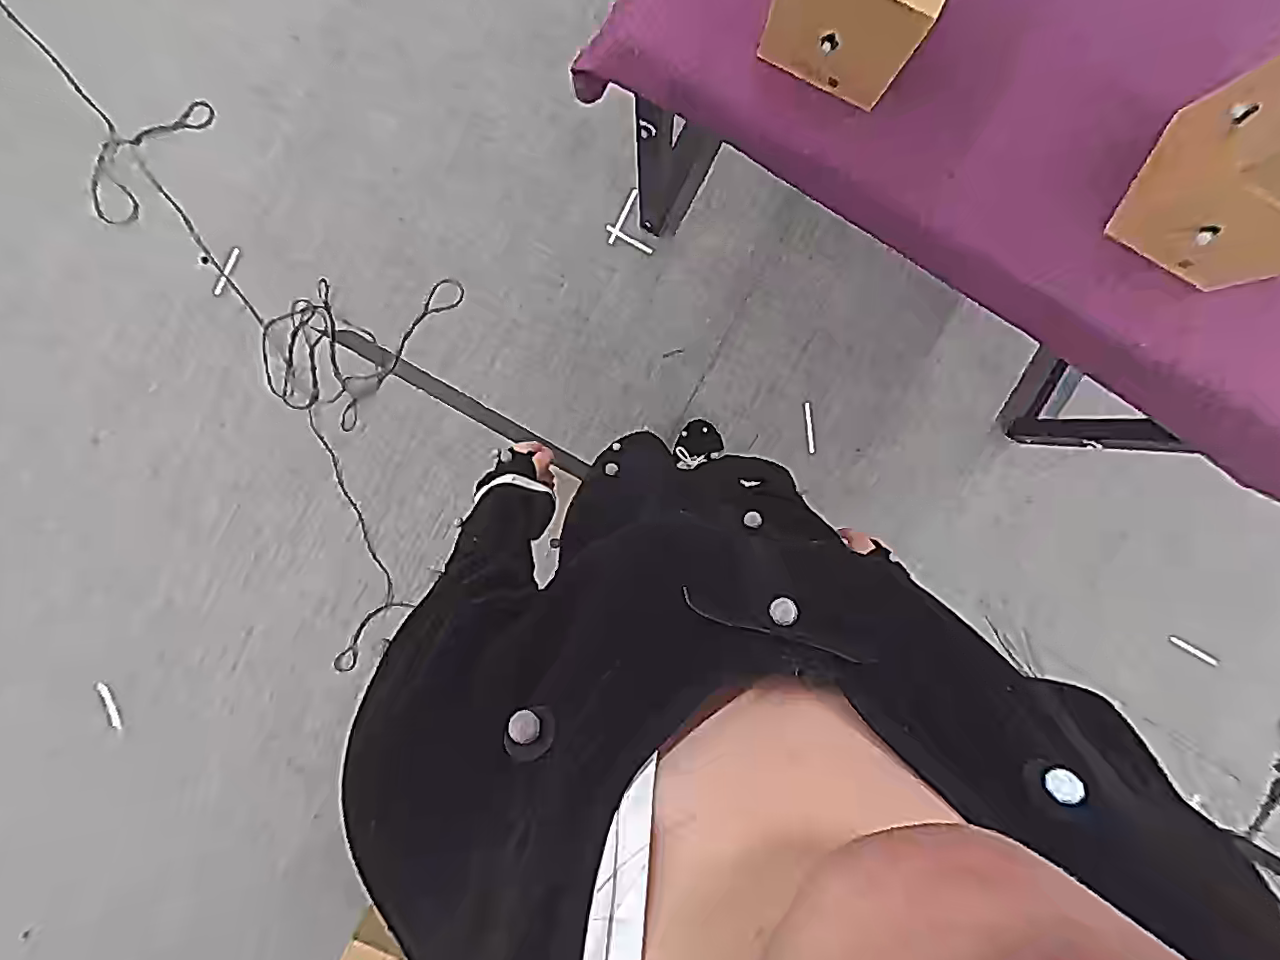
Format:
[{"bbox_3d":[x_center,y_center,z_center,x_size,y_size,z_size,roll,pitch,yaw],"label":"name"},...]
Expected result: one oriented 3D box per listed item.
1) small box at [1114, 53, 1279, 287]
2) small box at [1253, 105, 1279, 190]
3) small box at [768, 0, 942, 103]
[{"bbox_3d":[0.728,-0.358,0.640,0.168,0.176,0.179,29,95,-2],"label":"small box"},{"bbox_3d":[0.729,-0.344,0.477,0.168,0.176,0.179,30,96,-2],"label":"small box"},{"bbox_3d":[0.262,-0.585,0.616,0.168,0.176,0.179,25,95,-3],"label":"small box"}]
